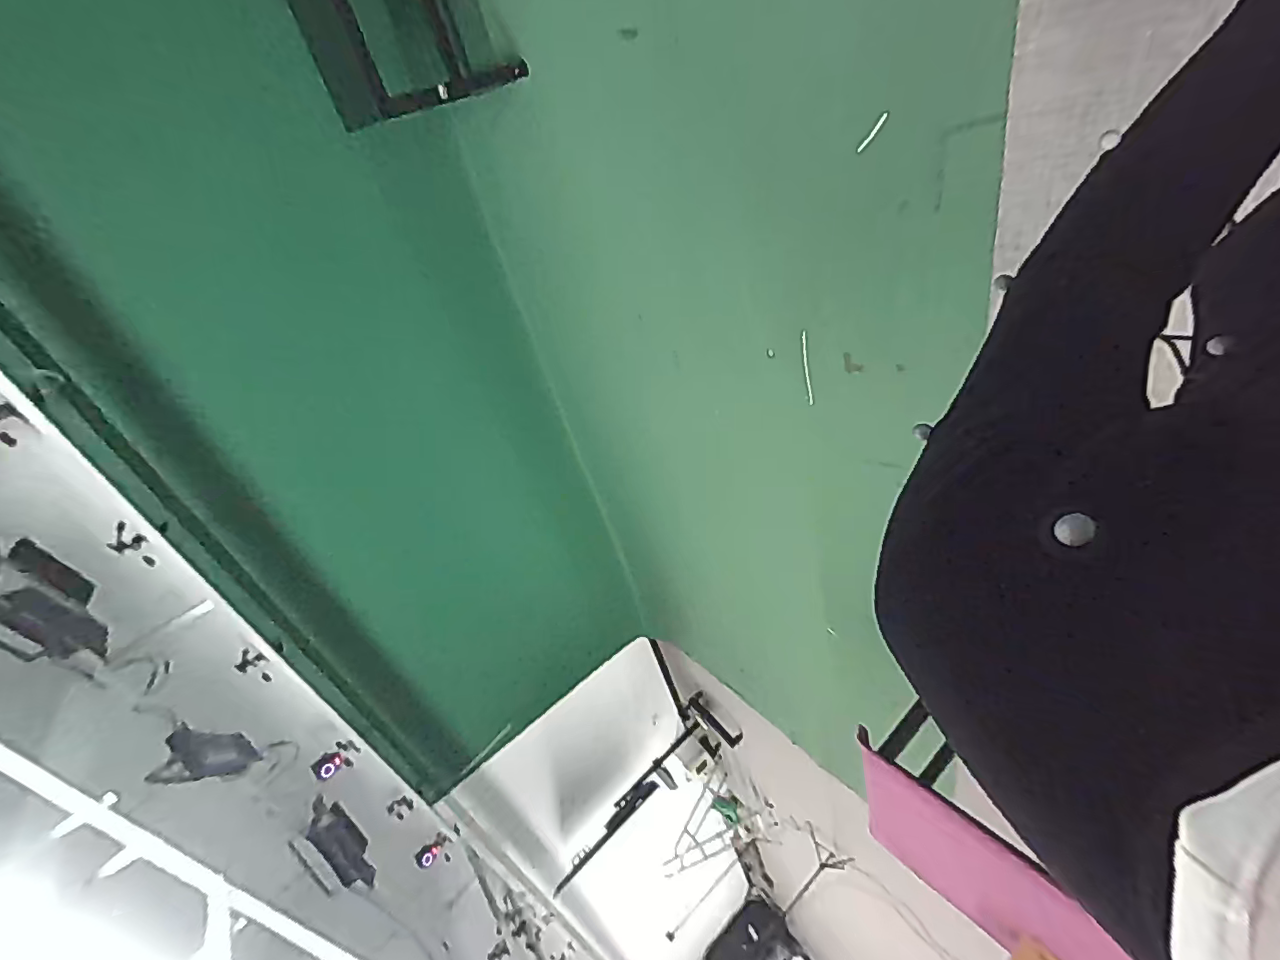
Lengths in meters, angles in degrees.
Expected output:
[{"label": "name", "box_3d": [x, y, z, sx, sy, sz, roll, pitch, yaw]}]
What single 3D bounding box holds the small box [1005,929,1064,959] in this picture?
[{"label": "small box", "box_3d": [1.218, 1.538, 1.649, 0.168, 0.176, 0.179, 25, 141, 49]}]
